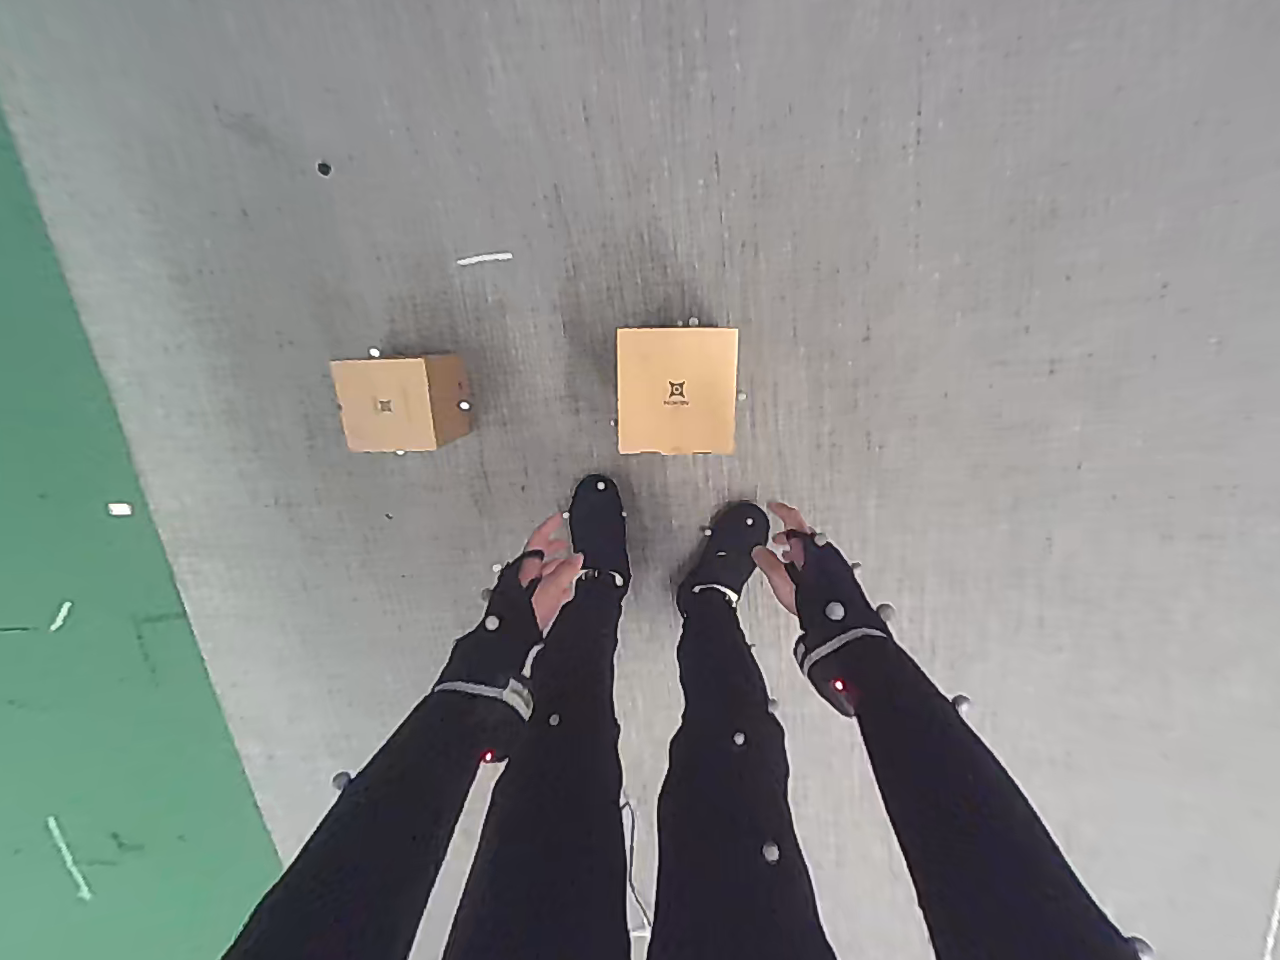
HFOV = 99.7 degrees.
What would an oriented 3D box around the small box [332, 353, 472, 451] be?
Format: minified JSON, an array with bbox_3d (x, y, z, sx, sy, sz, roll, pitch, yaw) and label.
[{"bbox_3d":[-0.441,-0.153,1.028,0.179,0.176,0.168,0,106,5],"label":"small box"}]

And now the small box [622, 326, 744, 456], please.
[{"bbox_3d":[0.060,-0.141,0.818,0.168,0.176,0.179,1,106,4],"label":"small box"}]
